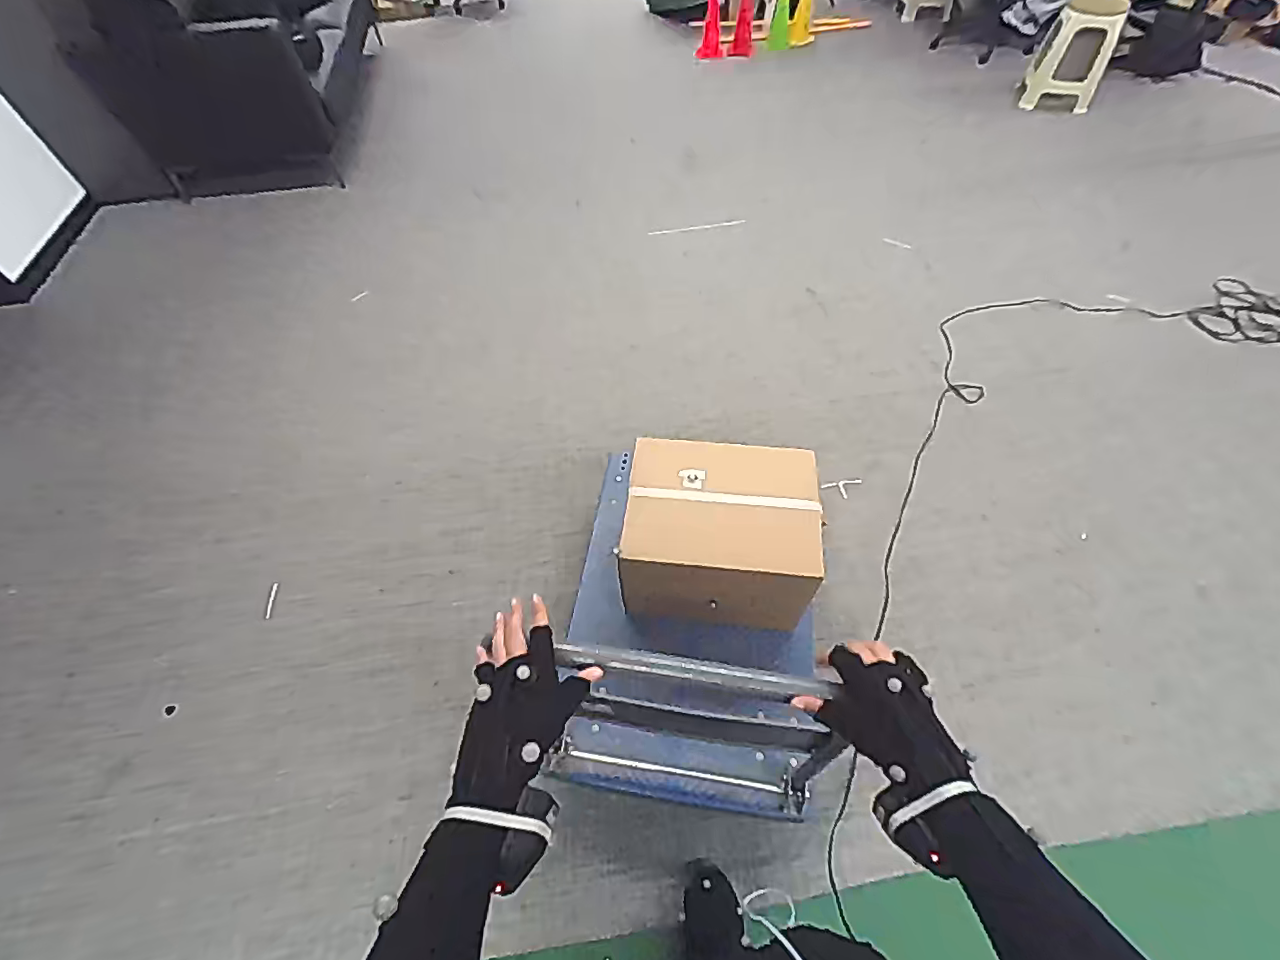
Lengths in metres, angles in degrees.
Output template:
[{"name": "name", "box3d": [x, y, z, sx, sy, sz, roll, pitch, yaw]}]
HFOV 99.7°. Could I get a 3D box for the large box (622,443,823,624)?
[{"name": "large box", "box3d": [0.182, 0.131, 1.273, 0.408, 0.320, 0.320, 3, 55, 6]}]
